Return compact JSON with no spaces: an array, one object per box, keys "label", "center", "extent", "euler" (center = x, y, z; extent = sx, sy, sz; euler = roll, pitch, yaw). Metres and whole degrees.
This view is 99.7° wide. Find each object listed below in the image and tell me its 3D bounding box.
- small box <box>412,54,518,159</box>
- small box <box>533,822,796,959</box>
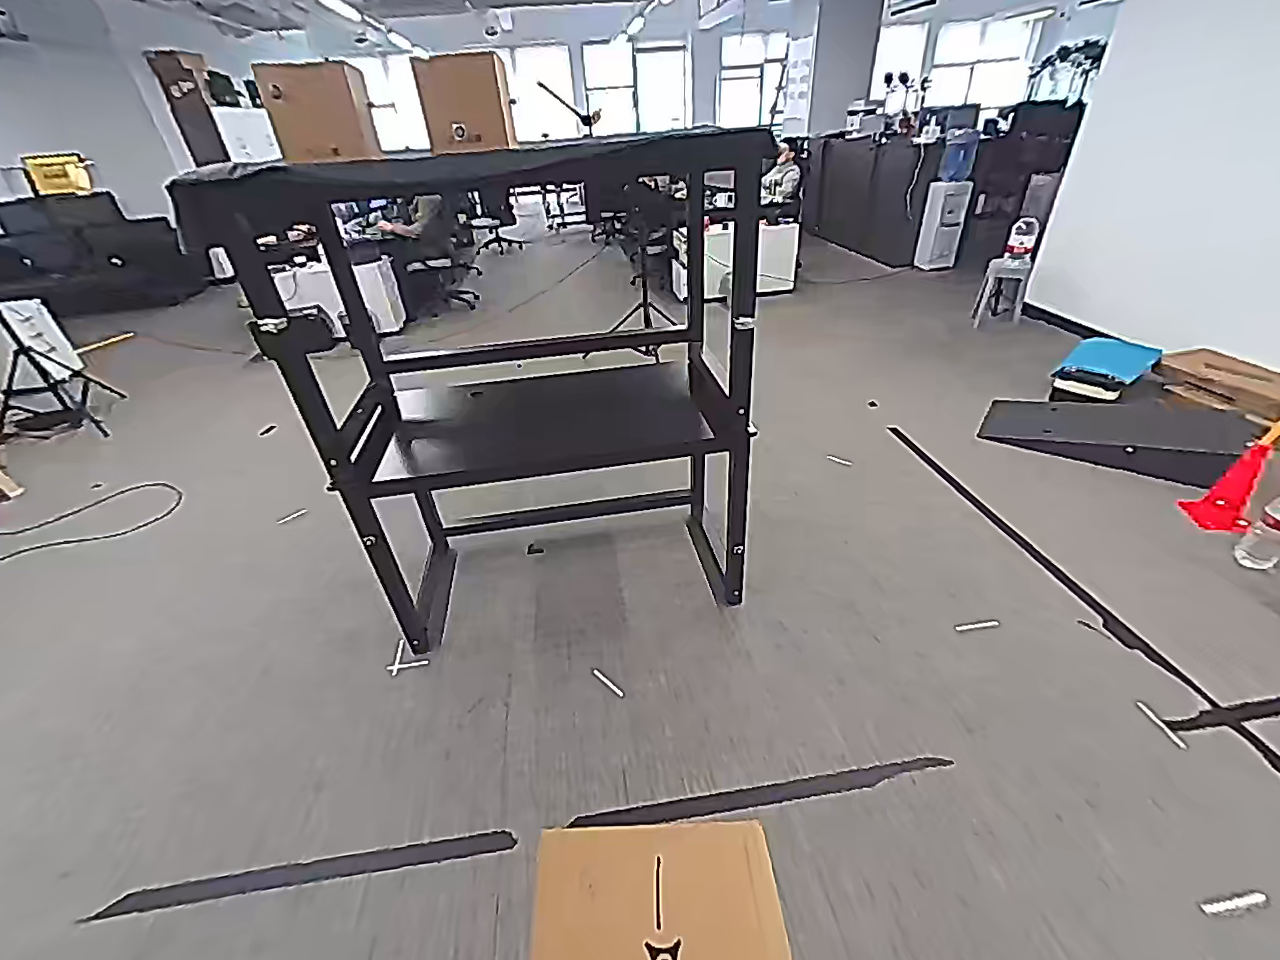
[{"label":"small box","center":[-0.360,-0.787,1.152],"extent":[0.168,0.176,0.179],"euler":[-7,33,-2]},{"label":"small box","center":[0.013,0.368,0.373],"extent":[0.168,0.176,0.179],"euler":[1,36,-5]}]
